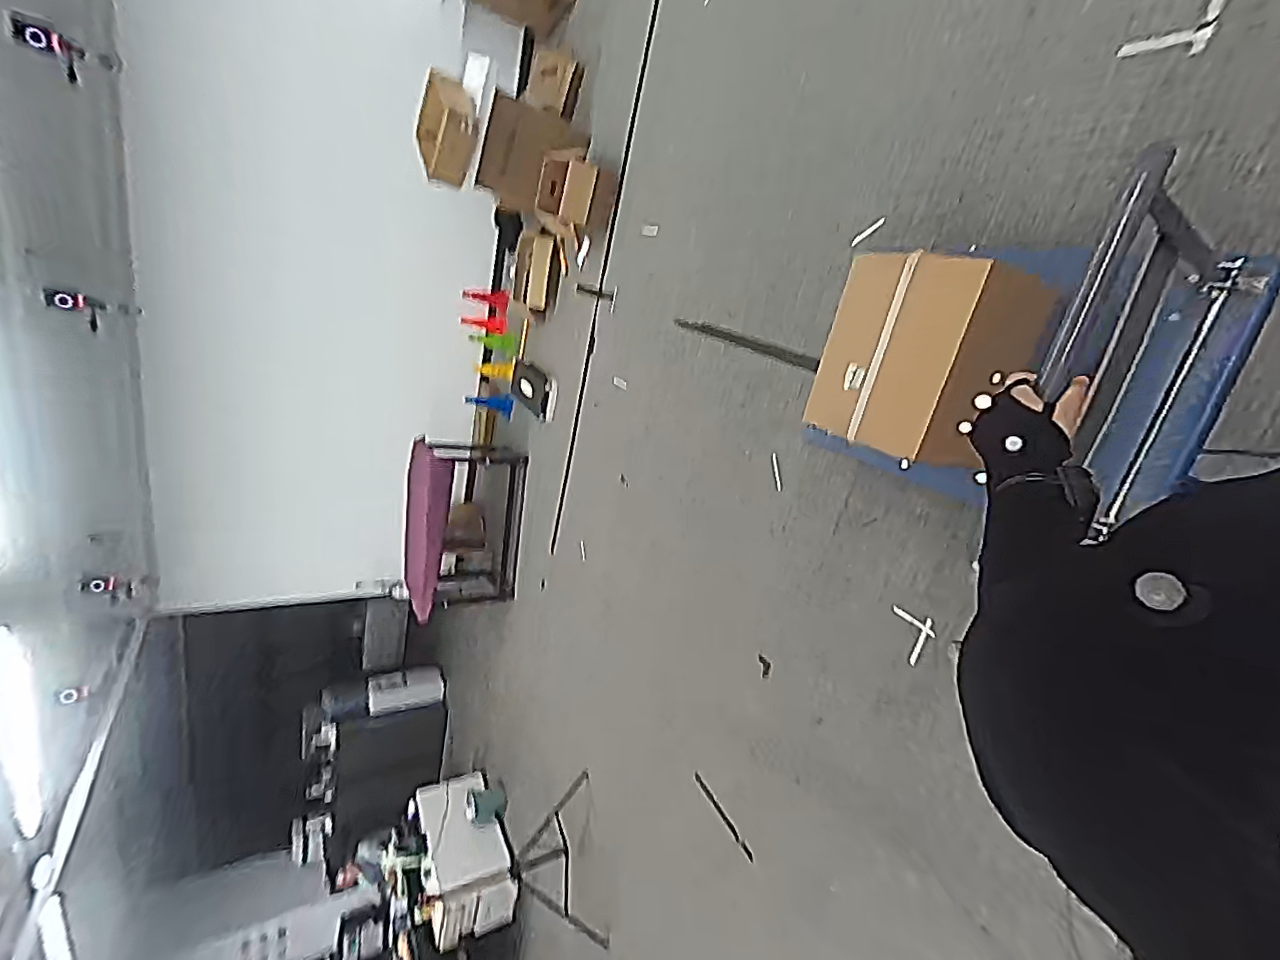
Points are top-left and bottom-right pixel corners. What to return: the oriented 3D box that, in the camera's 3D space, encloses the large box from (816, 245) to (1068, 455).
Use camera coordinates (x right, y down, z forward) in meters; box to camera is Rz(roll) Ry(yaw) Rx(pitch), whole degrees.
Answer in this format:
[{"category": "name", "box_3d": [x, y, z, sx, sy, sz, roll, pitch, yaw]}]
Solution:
[{"category": "large box", "box_3d": [0.675, -0.295, 1.241, 0.320, 0.320, 0.408, 38, 122, 52]}]
